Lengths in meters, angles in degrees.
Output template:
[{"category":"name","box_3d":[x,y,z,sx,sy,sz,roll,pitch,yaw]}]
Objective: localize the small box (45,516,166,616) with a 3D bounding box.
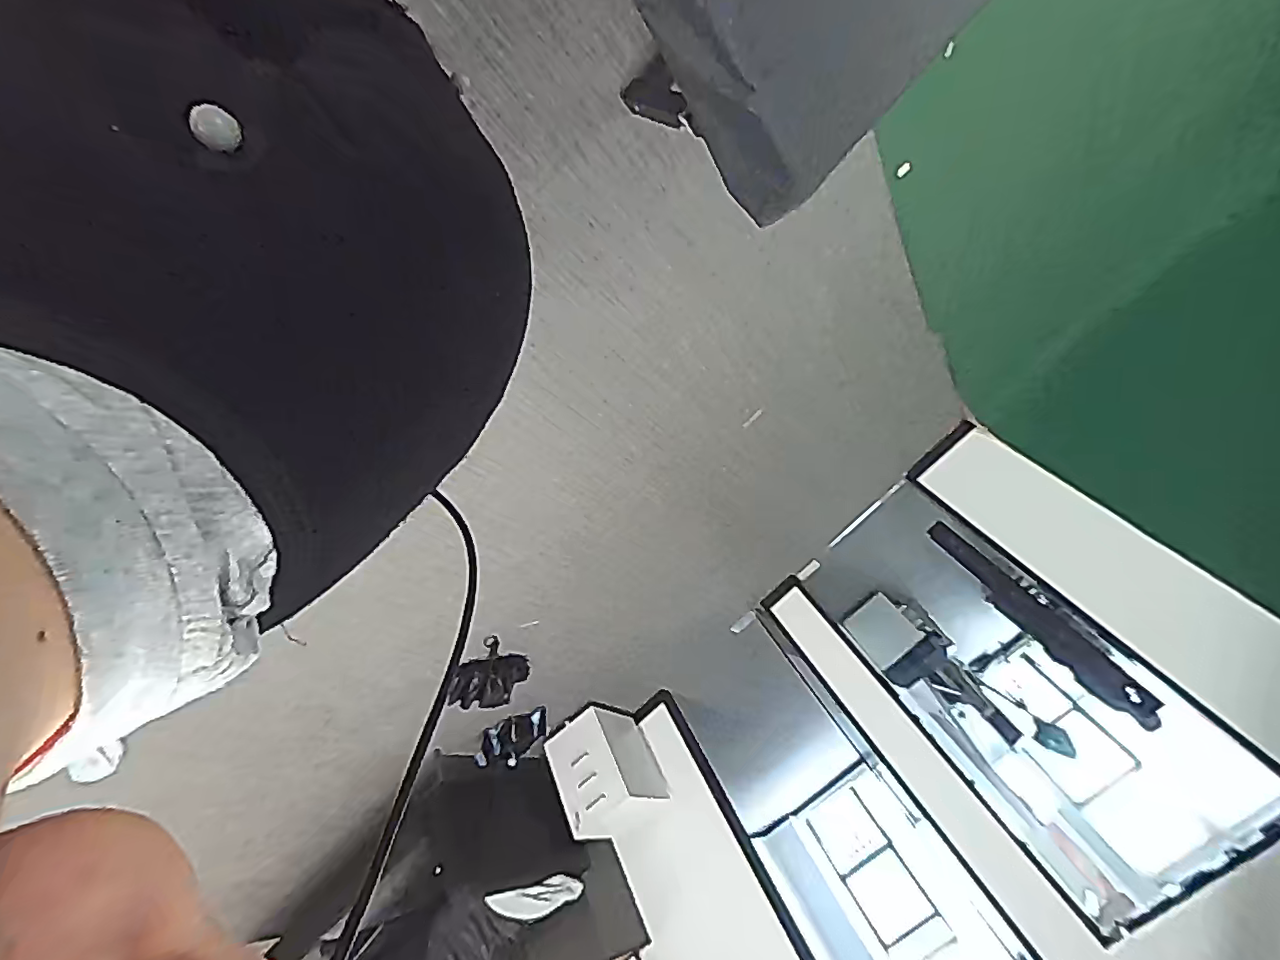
[{"category":"small box","box_3d":[-1.421,0.230,1.452,0.179,0.176,0.168,-43,139,7]}]
